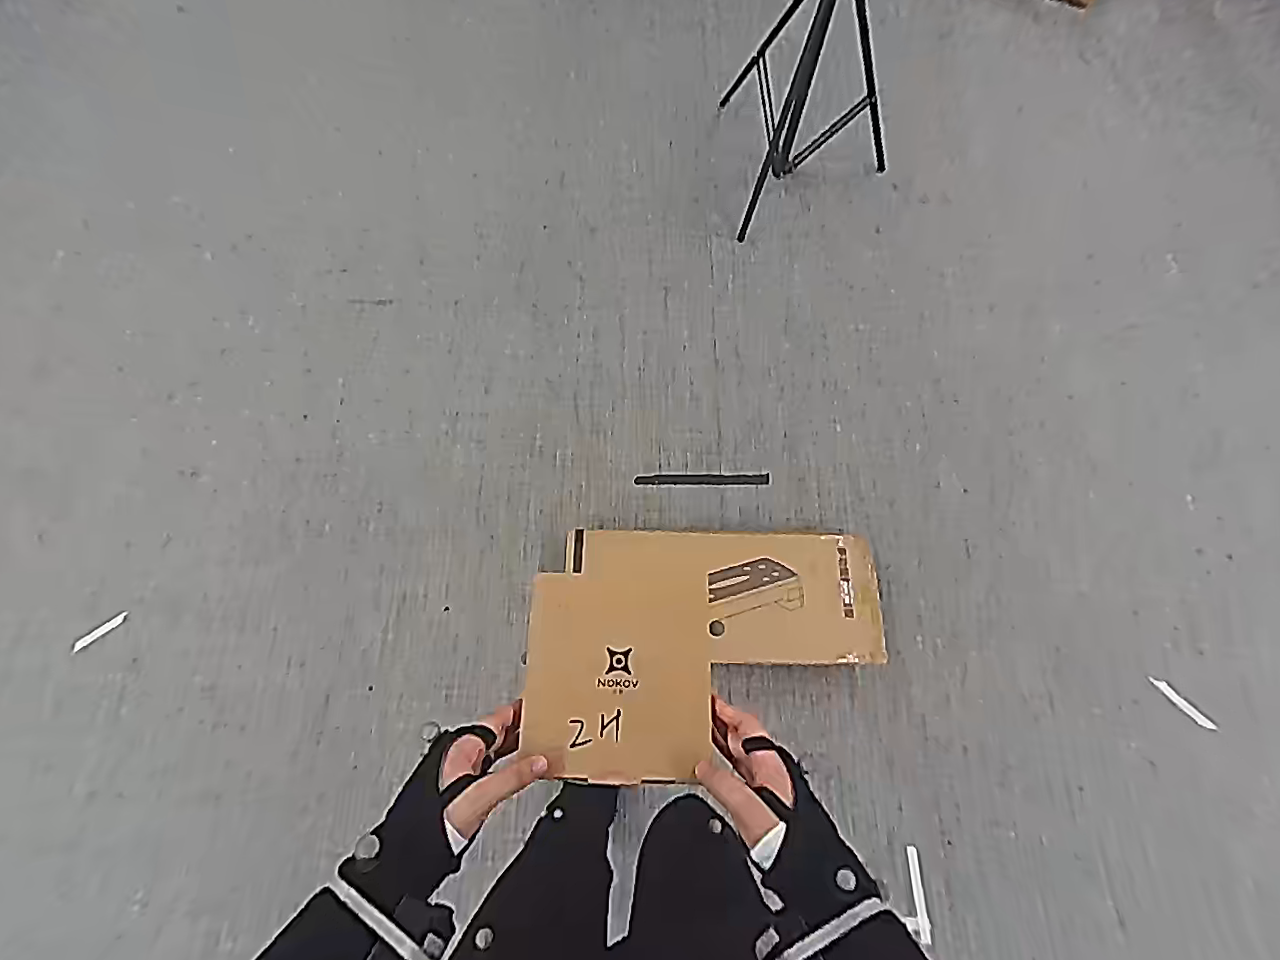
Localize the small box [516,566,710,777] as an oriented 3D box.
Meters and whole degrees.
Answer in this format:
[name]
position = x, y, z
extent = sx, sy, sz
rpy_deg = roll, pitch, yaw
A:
[small box]
position = -0.018, 0.193, 0.556
extent = 0.168, 0.176, 0.179
rpy_deg = 0, 69, 3
